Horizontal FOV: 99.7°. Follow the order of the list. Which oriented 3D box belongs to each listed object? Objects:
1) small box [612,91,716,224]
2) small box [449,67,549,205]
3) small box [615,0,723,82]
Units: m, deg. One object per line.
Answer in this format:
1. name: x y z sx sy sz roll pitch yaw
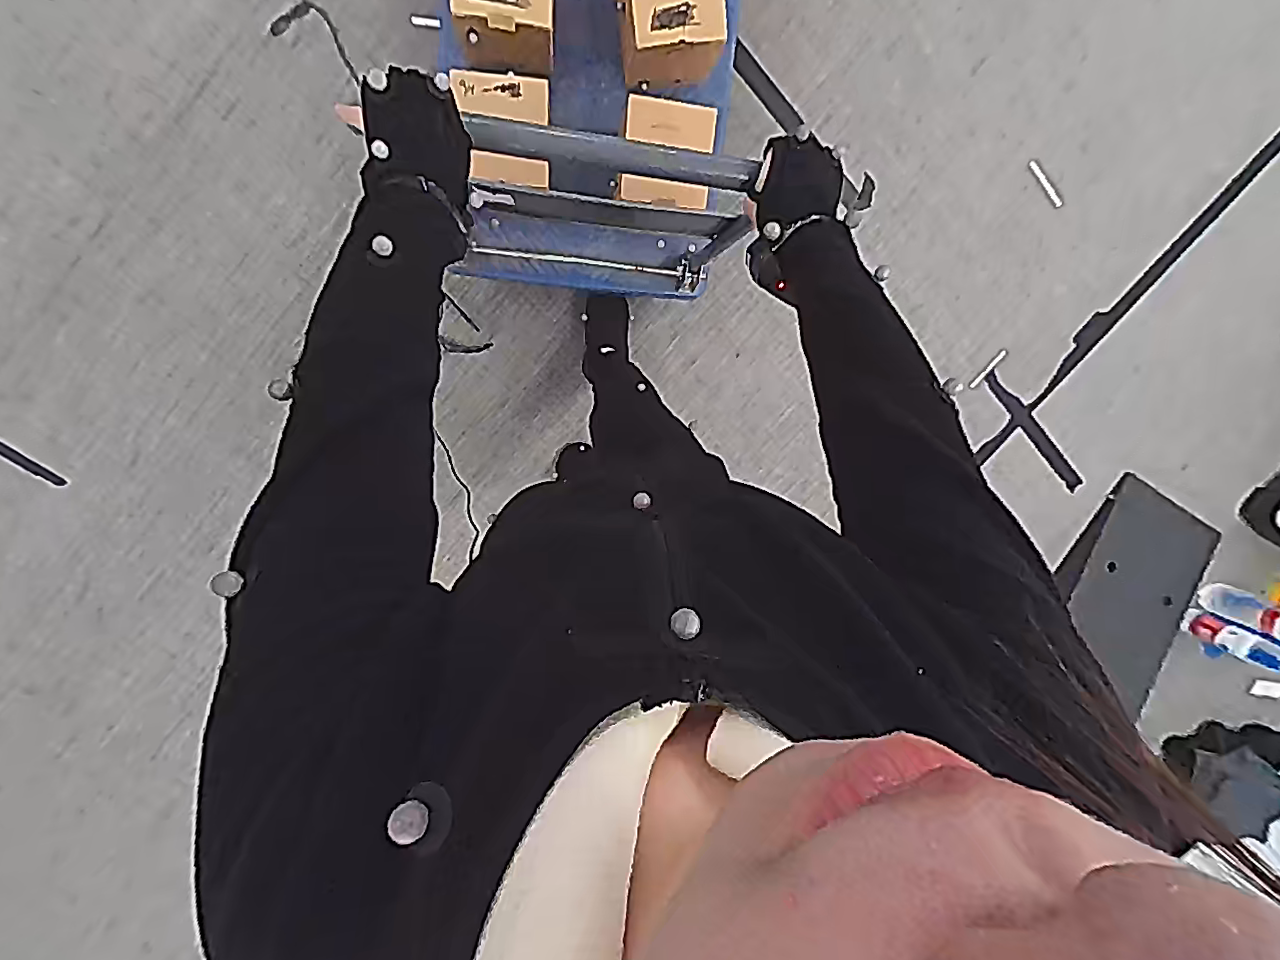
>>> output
1. small box: 0.039 -0.619 1.065 0.168 0.176 0.179 4 103 -10
2. small box: -0.255 -0.630 1.015 0.168 0.176 0.179 0 105 -9
3. small box: 0.049 -0.869 1.000 0.168 0.176 0.179 -9 105 -6
